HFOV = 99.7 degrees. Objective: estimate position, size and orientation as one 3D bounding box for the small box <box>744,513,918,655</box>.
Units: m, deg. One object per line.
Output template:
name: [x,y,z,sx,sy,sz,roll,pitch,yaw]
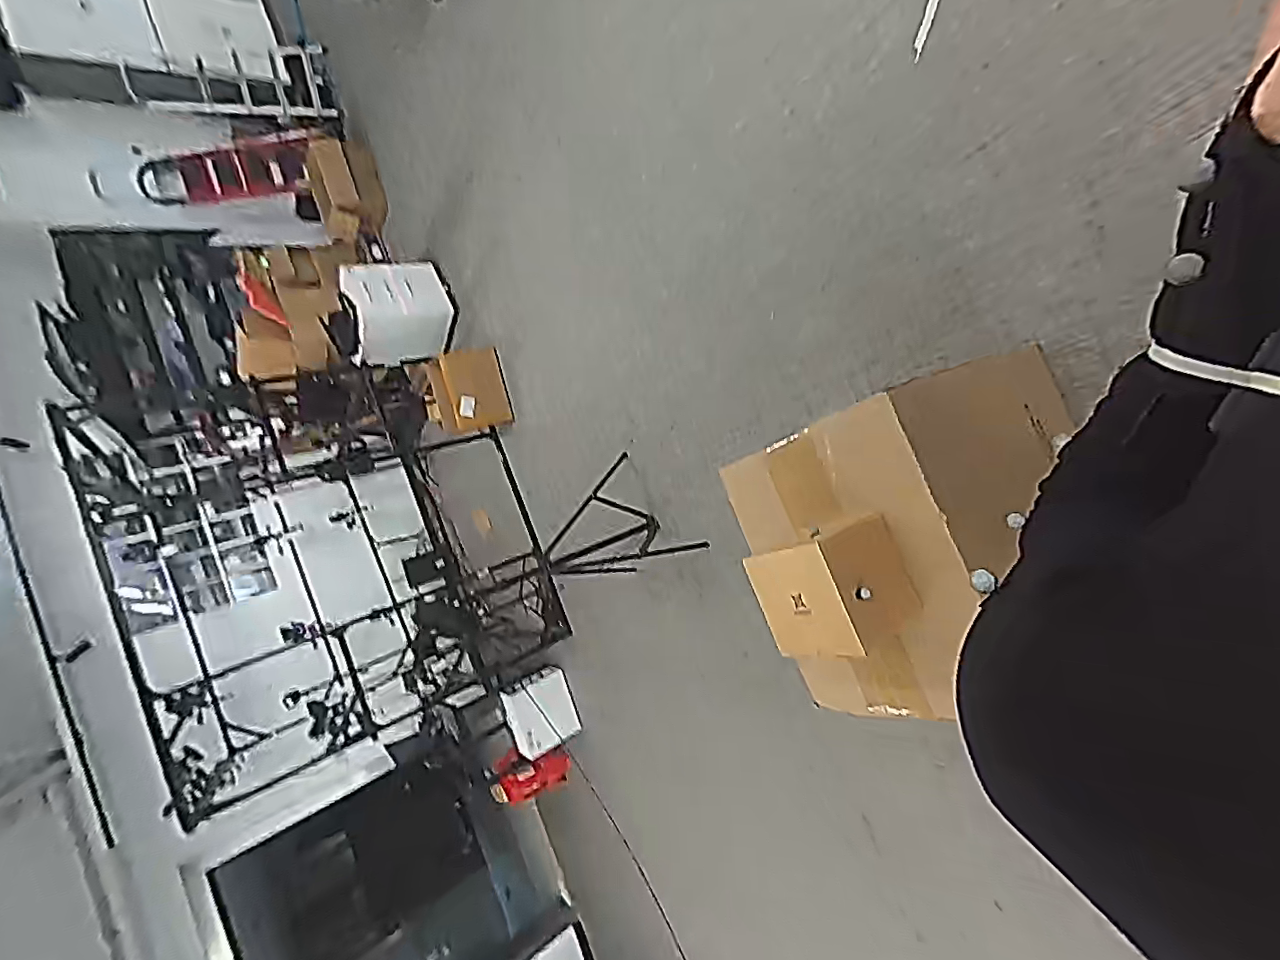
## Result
small box: [0.307,0.163,0.872,0.168,0.176,0.179,-29,83,55]
